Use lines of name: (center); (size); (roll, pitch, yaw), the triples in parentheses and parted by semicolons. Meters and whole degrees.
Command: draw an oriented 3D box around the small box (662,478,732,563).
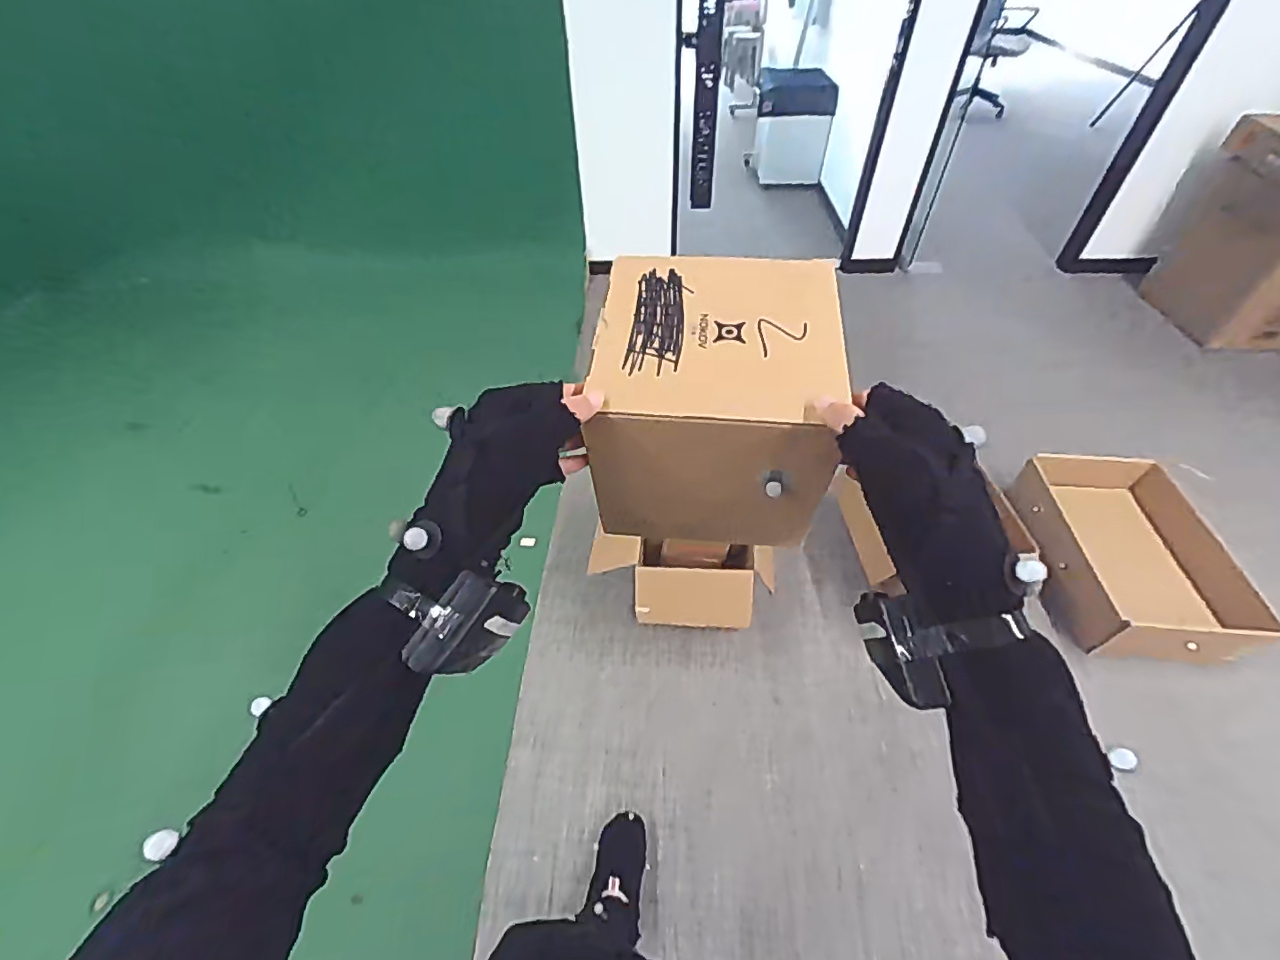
small box: (0.160, 0.118, 1.525); (0.179, 0.176, 0.168); (5, 47, 4)
